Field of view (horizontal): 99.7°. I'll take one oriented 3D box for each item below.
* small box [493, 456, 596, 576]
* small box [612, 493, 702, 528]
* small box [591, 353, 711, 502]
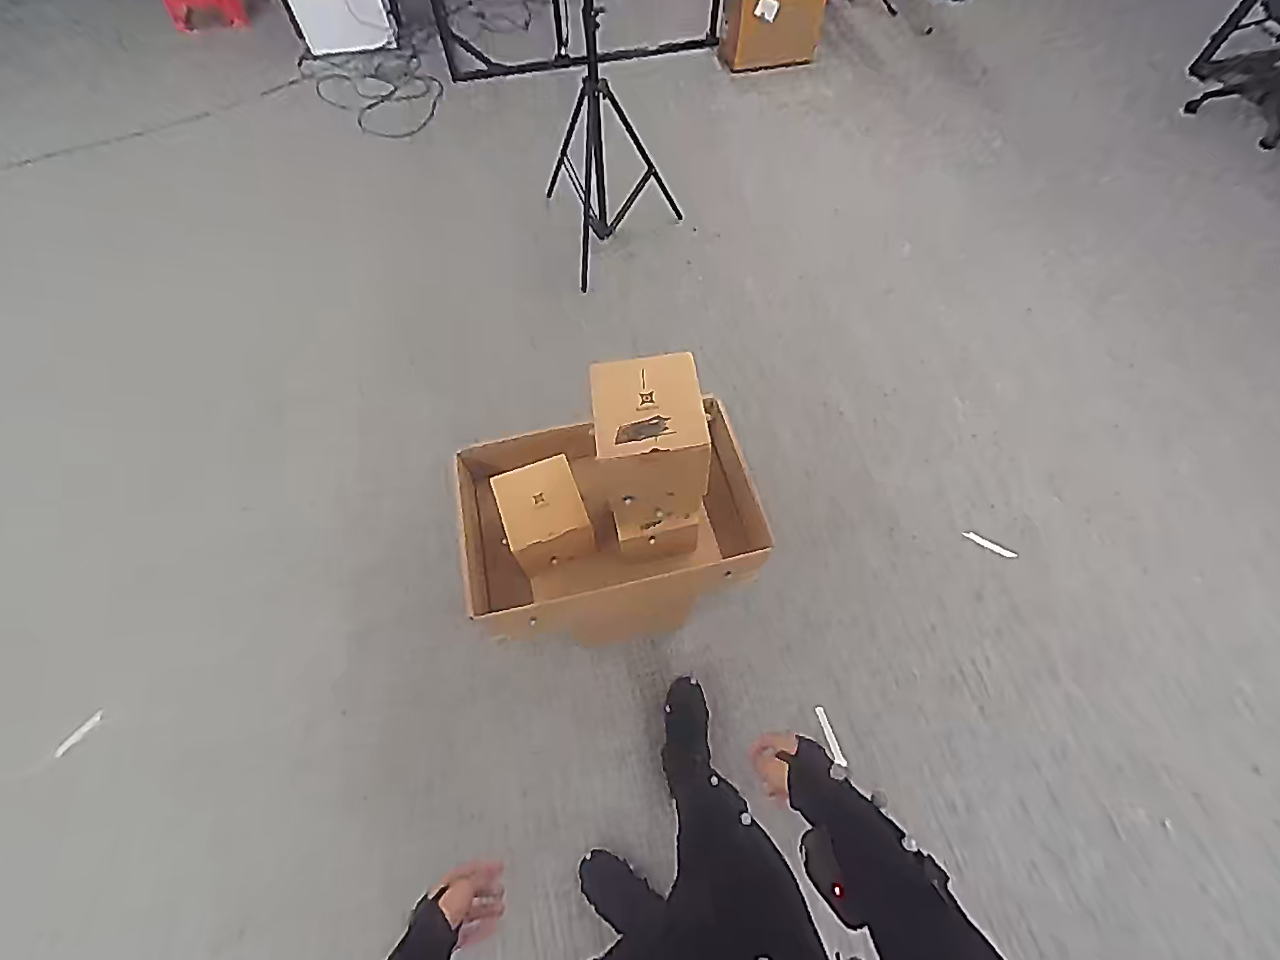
[{"bbox_3d":[-0.201,0.081,1.163,0.168,0.176,0.179,-19,65,-10],"label":"small box"},{"bbox_3d":[0.018,-0.029,1.033,0.168,0.176,0.179,-12,64,-2],"label":"small box"},{"bbox_3d":[0.018,-0.074,0.871,0.168,0.176,0.179,-7,63,0],"label":"small box"}]
